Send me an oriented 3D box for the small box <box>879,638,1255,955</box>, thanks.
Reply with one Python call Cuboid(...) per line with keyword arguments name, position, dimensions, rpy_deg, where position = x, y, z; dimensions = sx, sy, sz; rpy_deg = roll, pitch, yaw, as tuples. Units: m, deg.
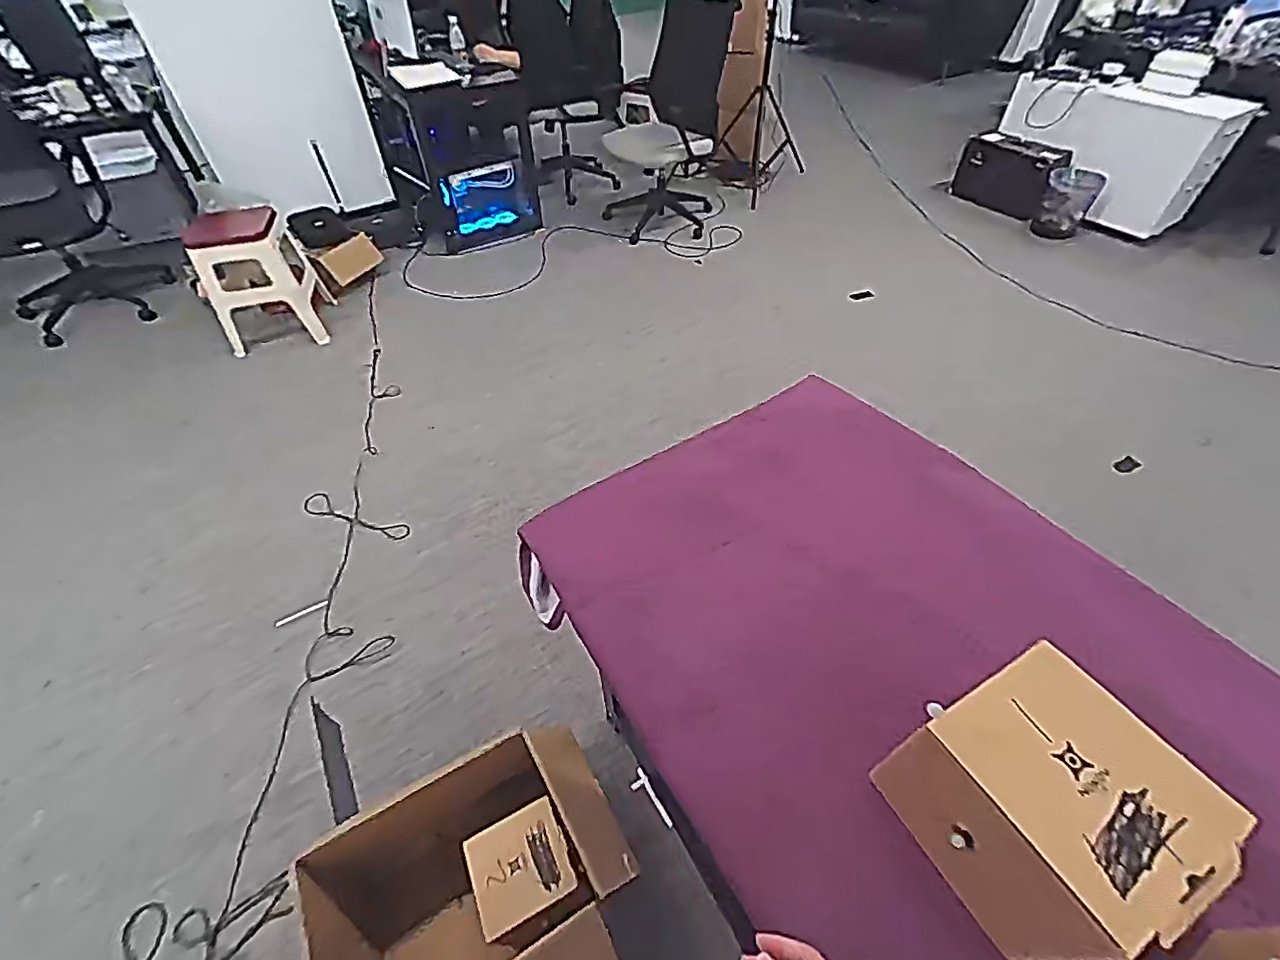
Cuboid(name="small box", position=(0.359, 0.286, 0.496), dimensions=(0.168, 0.176, 0.179), rpy_deg=(-23, 50, -18))
